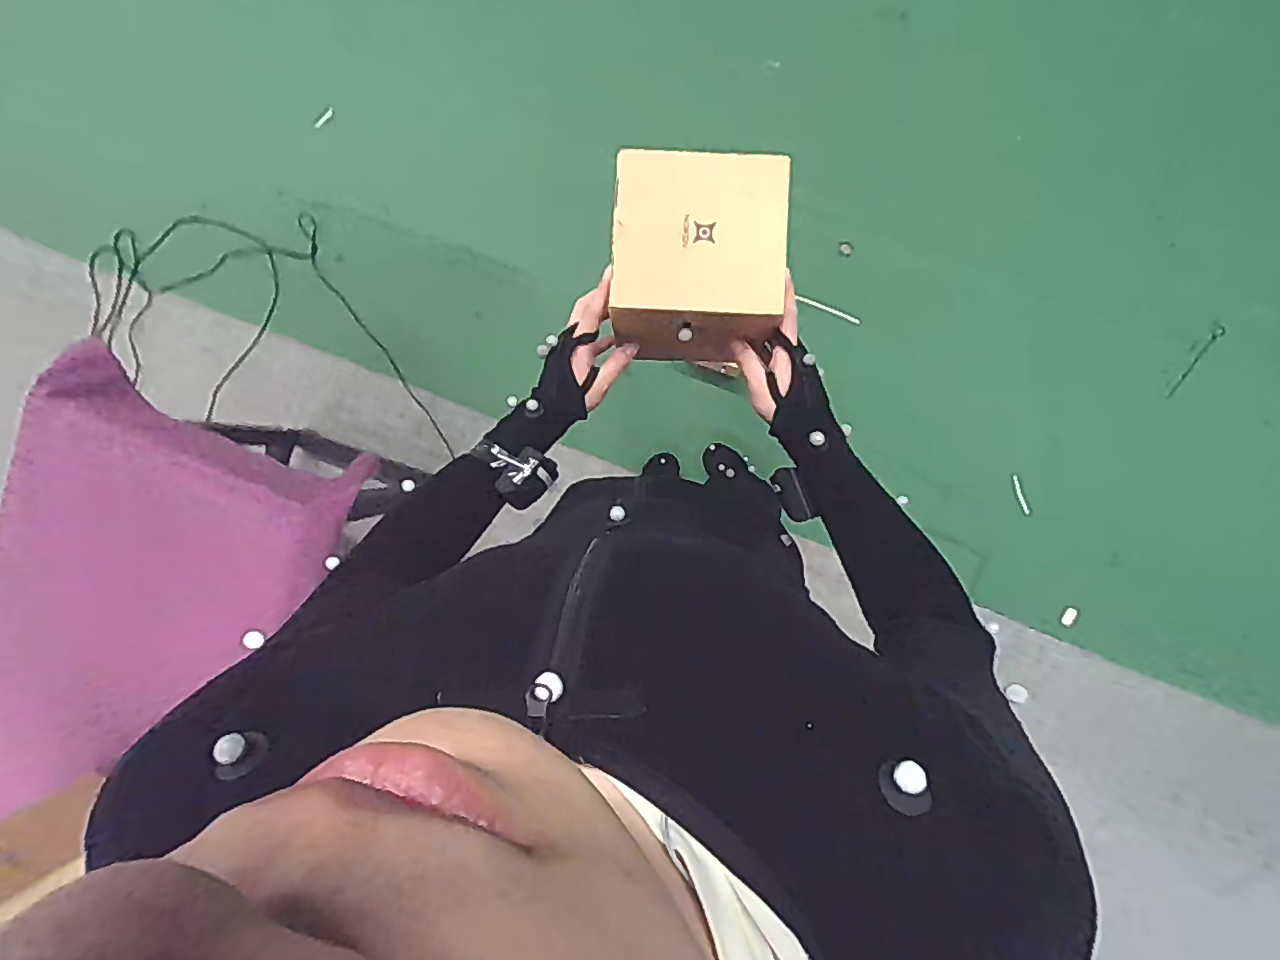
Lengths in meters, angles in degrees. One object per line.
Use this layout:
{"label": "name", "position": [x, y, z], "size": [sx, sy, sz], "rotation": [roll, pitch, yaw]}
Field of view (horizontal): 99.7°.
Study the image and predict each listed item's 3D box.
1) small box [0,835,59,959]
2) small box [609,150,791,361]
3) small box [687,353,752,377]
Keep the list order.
{"label": "small box", "position": [-1.044, 0.677, 0.809], "size": [0.168, 0.176, 0.179], "rotation": [20, 94, 6]}
{"label": "small box", "position": [0.062, -0.240, 0.615], "size": [0.179, 0.176, 0.168], "rotation": [3, 85, 2]}
{"label": "small box", "position": [0.233, -0.398, 1.520], "size": [0.179, 0.176, 0.168], "rotation": [21, 94, 5]}
